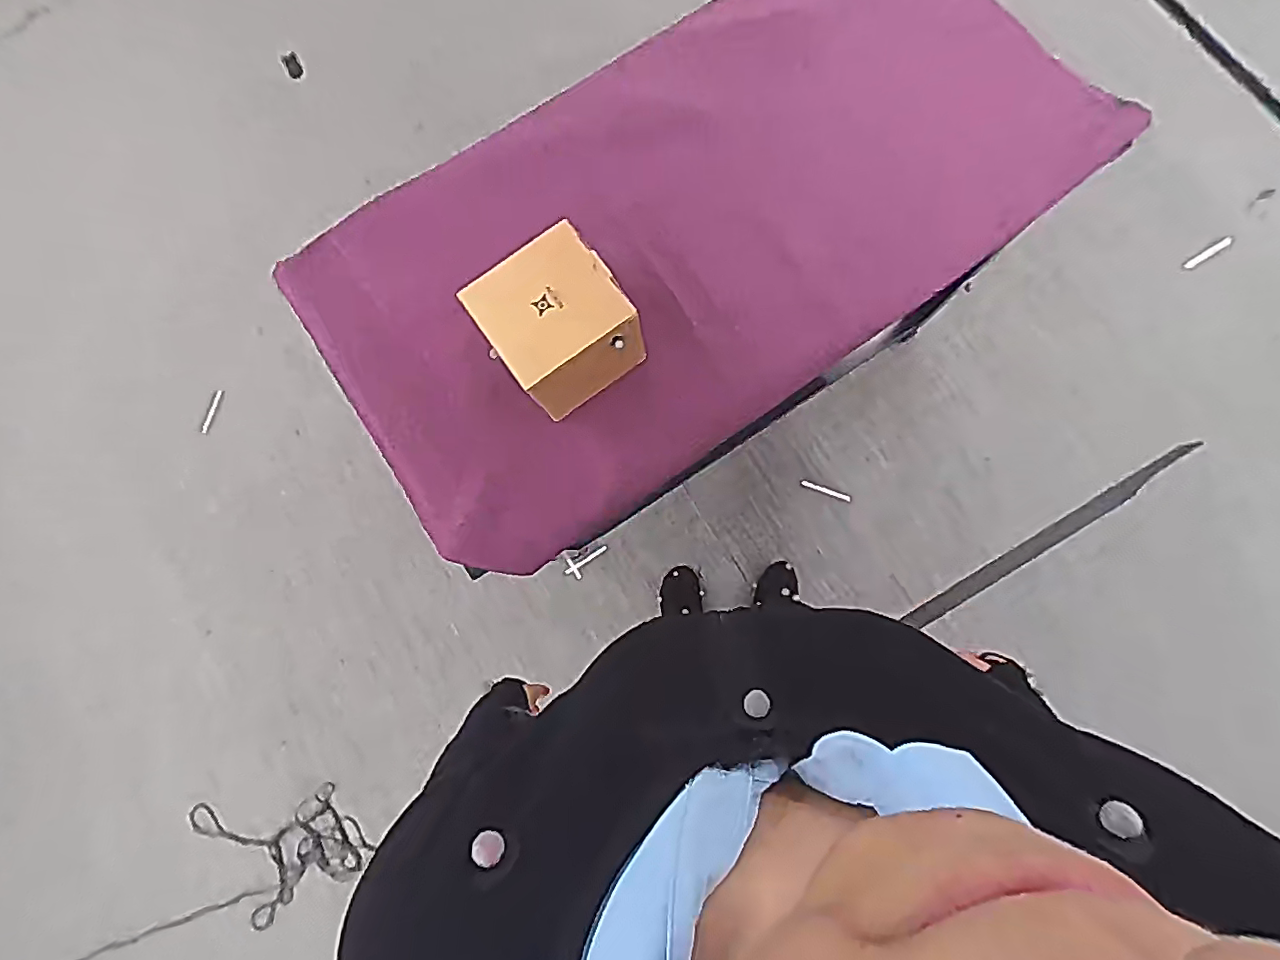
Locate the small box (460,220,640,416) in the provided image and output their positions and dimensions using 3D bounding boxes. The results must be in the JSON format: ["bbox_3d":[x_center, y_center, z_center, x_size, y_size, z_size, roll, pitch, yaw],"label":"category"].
[{"bbox_3d":[-0.114,-0.216,0.770,0.179,0.176,0.168,-36,81,-2],"label":"small box"}]
